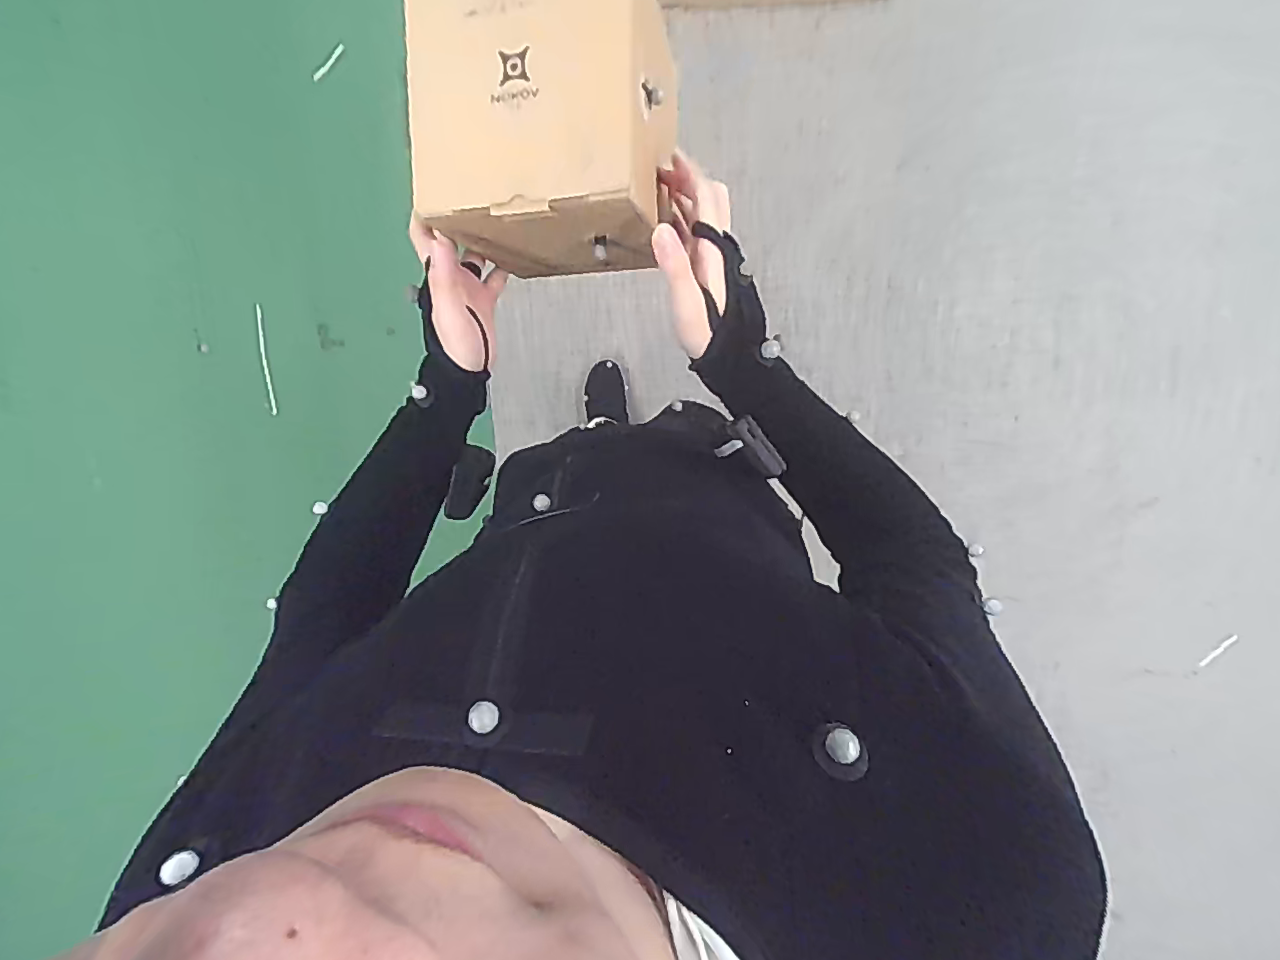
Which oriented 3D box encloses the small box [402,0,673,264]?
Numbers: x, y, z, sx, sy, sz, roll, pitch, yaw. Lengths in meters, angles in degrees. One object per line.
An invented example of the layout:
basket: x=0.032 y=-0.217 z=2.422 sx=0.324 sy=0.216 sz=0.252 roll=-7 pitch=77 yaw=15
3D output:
small box: x=-0.069 y=-0.287 z=0.441 sx=0.168 sy=0.176 sz=0.179 roll=2 pitch=95 yaw=13
